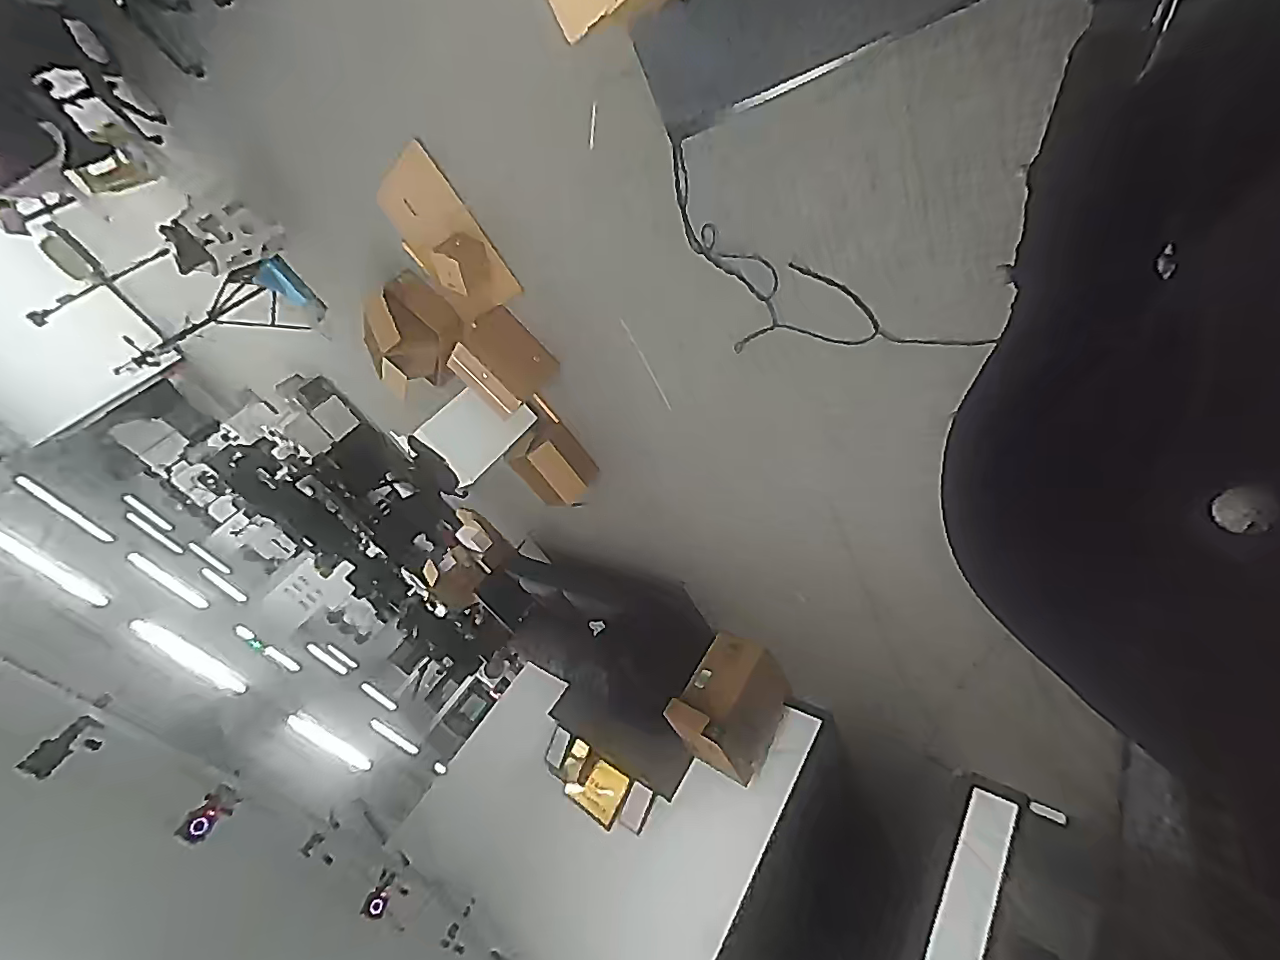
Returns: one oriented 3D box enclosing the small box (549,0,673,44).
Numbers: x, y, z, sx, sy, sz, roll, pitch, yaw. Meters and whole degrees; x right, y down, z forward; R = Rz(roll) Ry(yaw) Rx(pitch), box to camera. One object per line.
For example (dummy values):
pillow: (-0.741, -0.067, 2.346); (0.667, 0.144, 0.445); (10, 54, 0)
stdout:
small box: (-0.008, -0.569, 0.510); (0.168, 0.176, 0.179); (4, 135, 46)
